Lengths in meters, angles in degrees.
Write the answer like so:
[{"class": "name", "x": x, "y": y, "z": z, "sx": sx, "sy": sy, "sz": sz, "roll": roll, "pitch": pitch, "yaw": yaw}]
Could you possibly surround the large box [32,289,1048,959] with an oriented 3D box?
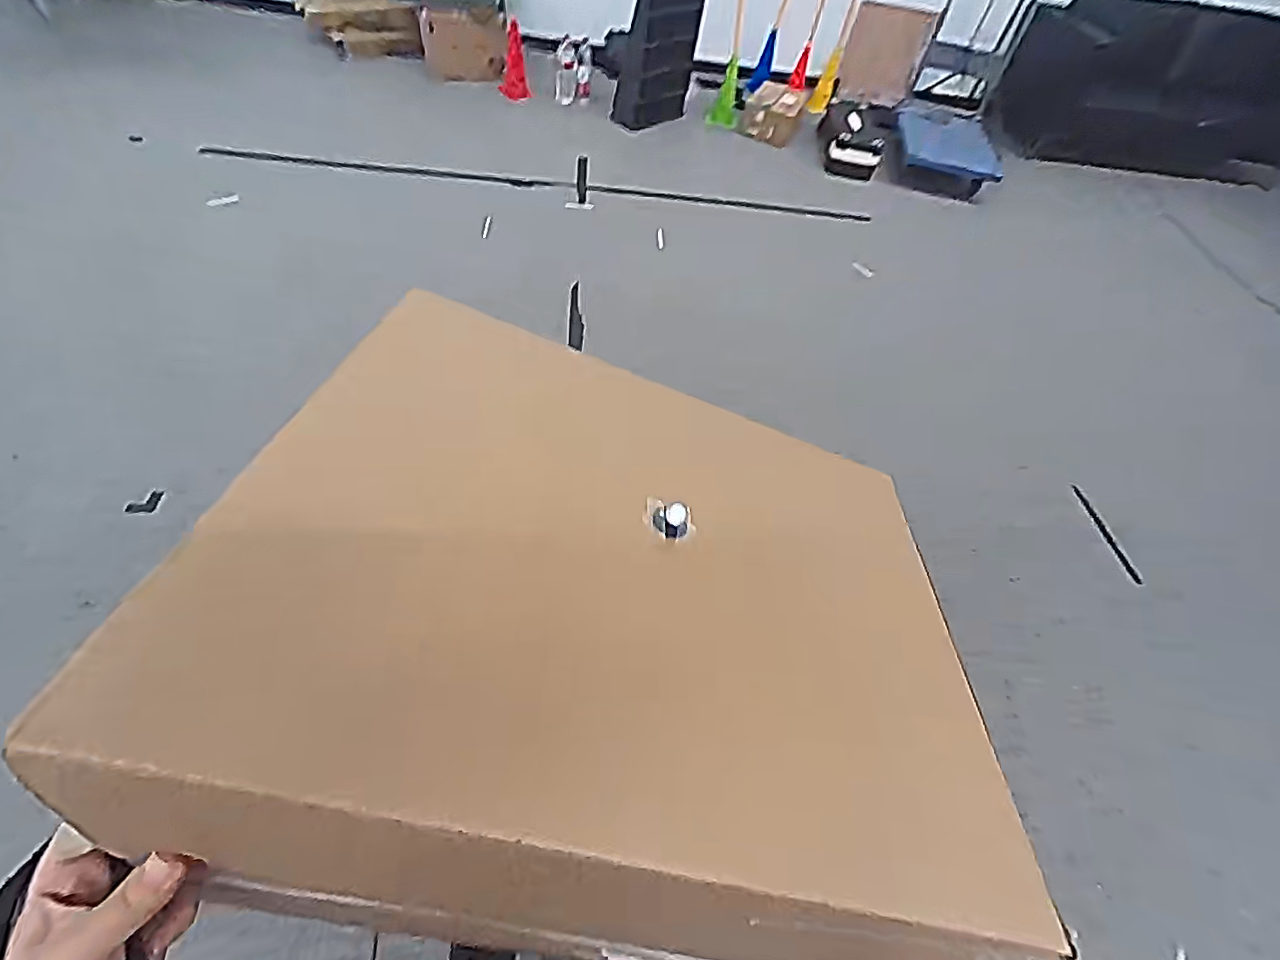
[{"class": "large box", "x": -0.047, "y": 0.120, "z": 0.407, "sx": 0.408, "sy": 0.320, "sz": 0.320, "roll": 19, "pitch": 43, "yaw": -12}]
